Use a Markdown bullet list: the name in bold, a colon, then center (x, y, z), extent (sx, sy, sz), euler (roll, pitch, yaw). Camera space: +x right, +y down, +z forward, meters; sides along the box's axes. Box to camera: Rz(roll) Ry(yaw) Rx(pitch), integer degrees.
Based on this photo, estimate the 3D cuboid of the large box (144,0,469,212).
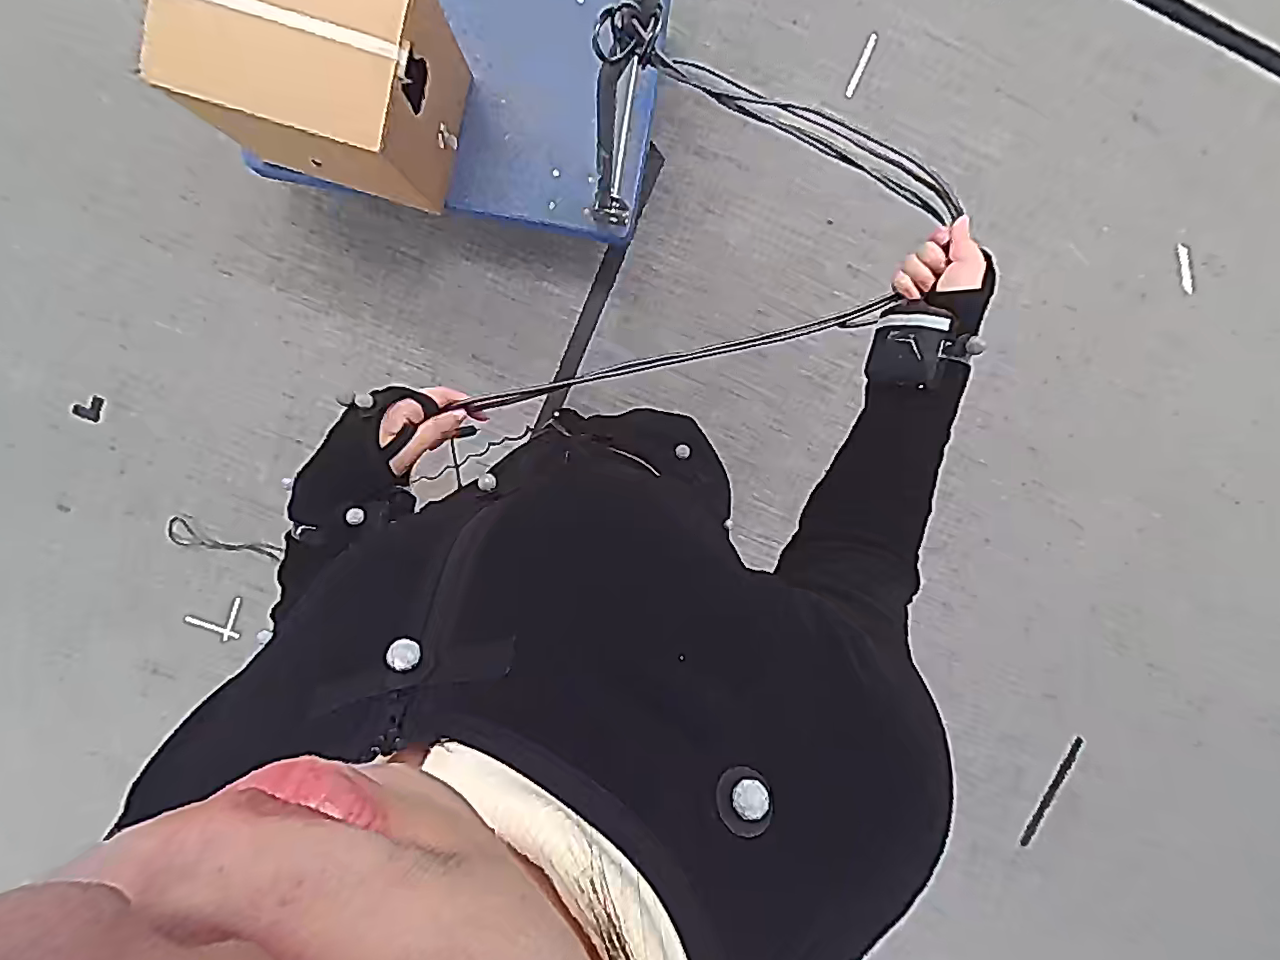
- **large box**: center (-0.588, -0.760, 1.025), extent (0.408, 0.320, 0.320), euler (15, 97, -3)
